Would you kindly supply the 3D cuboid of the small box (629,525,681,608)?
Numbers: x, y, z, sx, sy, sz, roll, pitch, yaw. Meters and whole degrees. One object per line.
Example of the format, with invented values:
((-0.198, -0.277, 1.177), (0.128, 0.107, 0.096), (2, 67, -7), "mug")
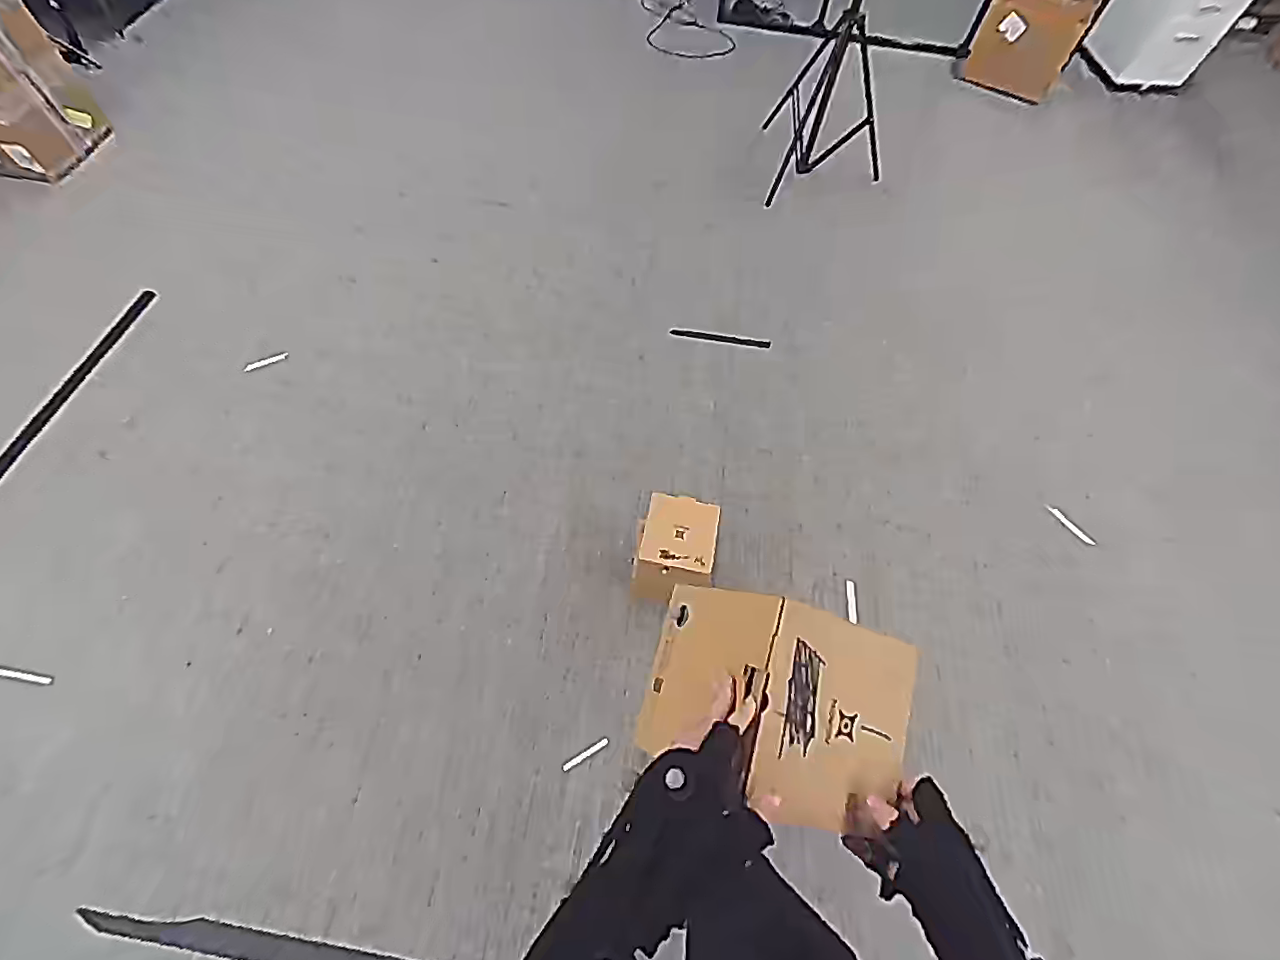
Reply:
((0.069, 0.237, 1.444), (0.179, 0.176, 0.168), (6, 60, 0), "small box")

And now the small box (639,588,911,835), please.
((0.123, 0.208, 0.523), (0.179, 0.176, 0.168), (24, 73, -24), "small box")

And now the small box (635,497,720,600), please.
((0.086, 0.169, 1.295), (0.168, 0.176, 0.179), (12, 59, 3), "small box")
